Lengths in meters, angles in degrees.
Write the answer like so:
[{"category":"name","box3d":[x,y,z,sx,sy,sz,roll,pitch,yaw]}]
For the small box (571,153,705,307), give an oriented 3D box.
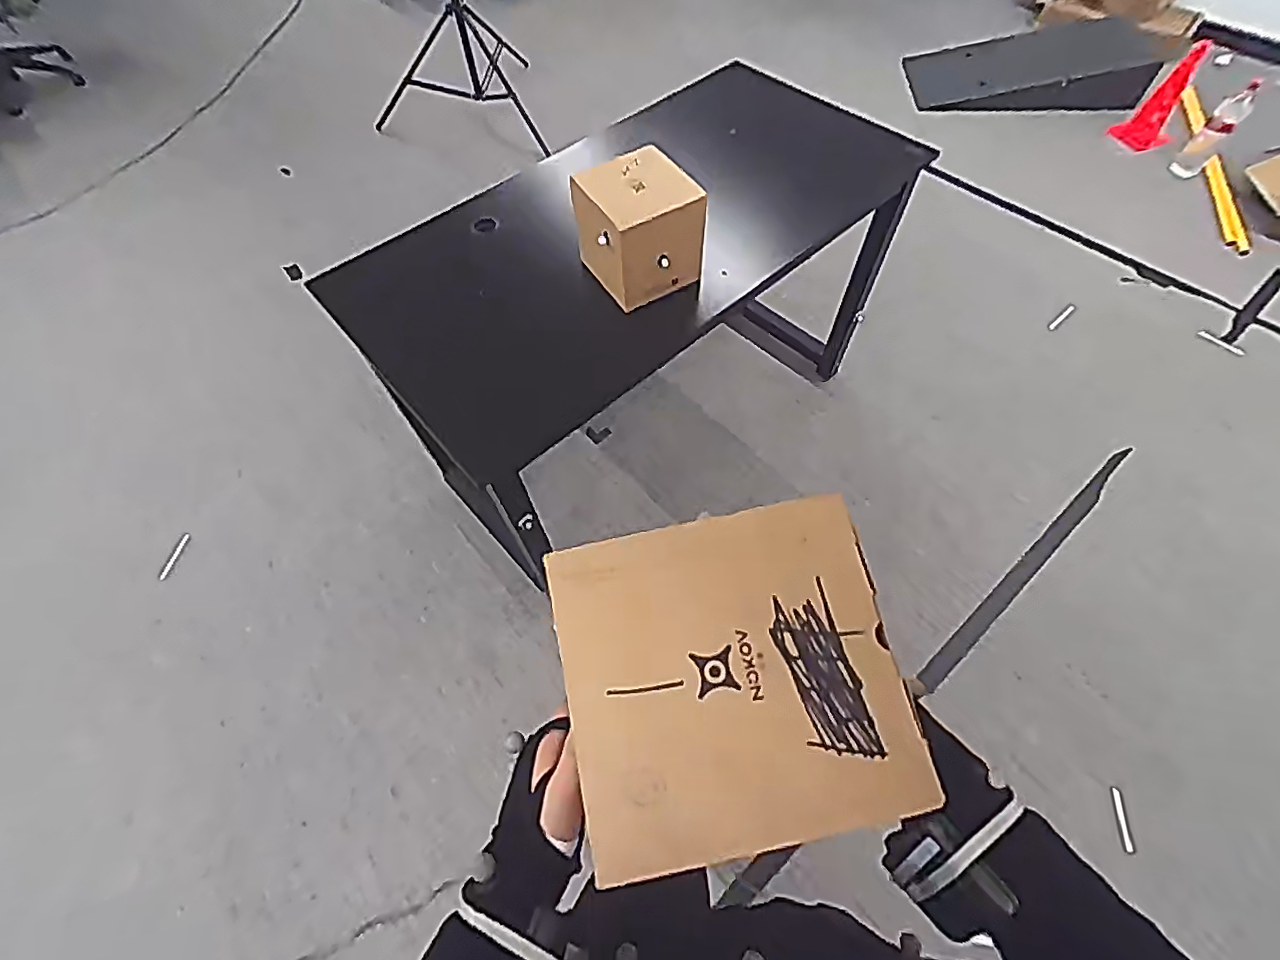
[{"category":"small box","box3d":[-0.002,-0.433,0.961,0.168,0.176,0.179,-28,62,-14]}]
